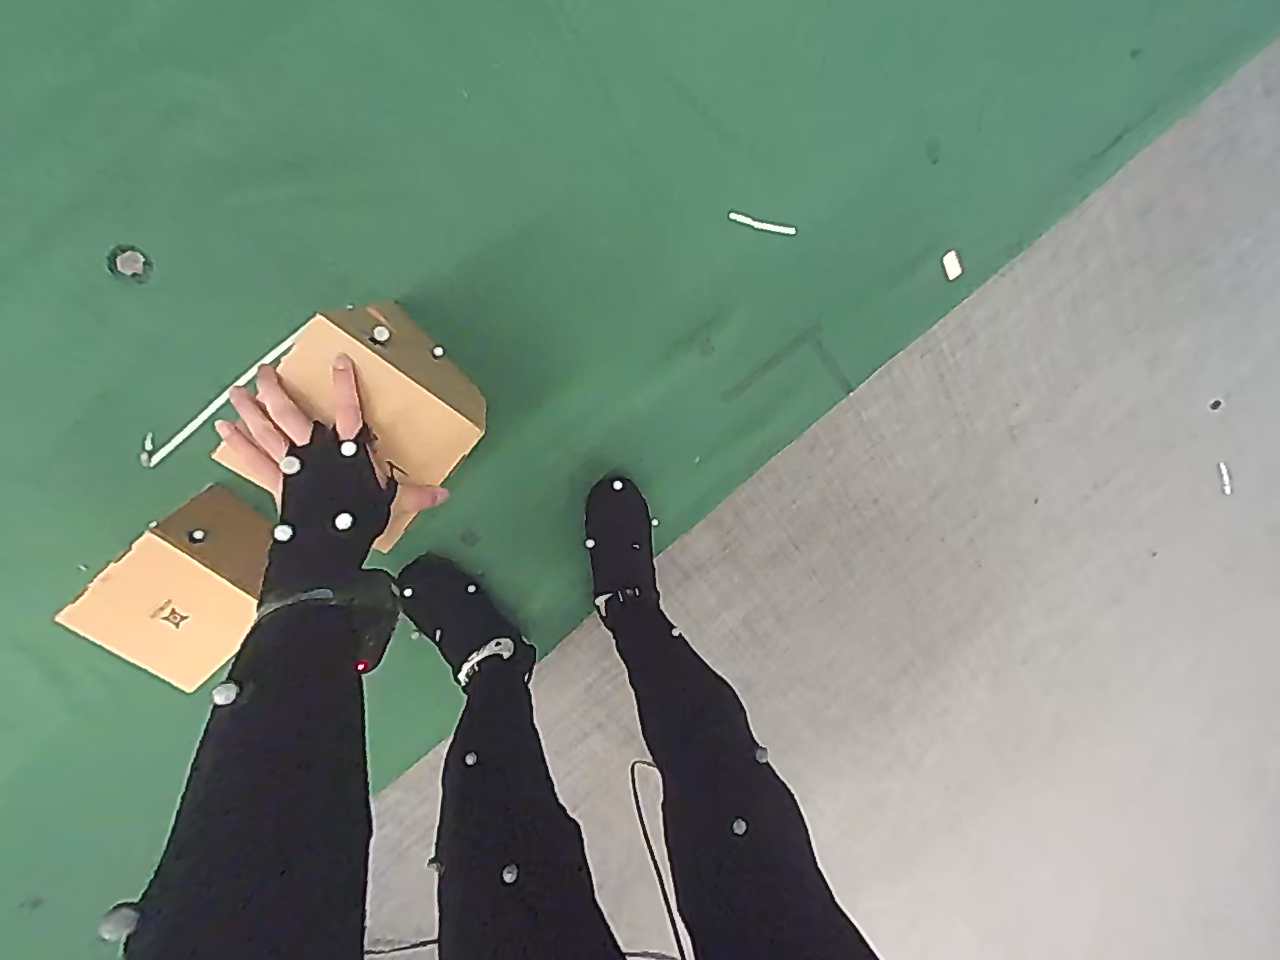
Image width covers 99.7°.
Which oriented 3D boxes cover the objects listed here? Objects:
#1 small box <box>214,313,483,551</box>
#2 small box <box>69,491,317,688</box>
[{"bbox_3d":[-0.291,-0.060,0.585,0.179,0.176,0.168,38,97,-23],"label":"small box"},{"bbox_3d":[-0.602,0.145,0.761,0.168,0.176,0.179,-42,113,4],"label":"small box"}]
